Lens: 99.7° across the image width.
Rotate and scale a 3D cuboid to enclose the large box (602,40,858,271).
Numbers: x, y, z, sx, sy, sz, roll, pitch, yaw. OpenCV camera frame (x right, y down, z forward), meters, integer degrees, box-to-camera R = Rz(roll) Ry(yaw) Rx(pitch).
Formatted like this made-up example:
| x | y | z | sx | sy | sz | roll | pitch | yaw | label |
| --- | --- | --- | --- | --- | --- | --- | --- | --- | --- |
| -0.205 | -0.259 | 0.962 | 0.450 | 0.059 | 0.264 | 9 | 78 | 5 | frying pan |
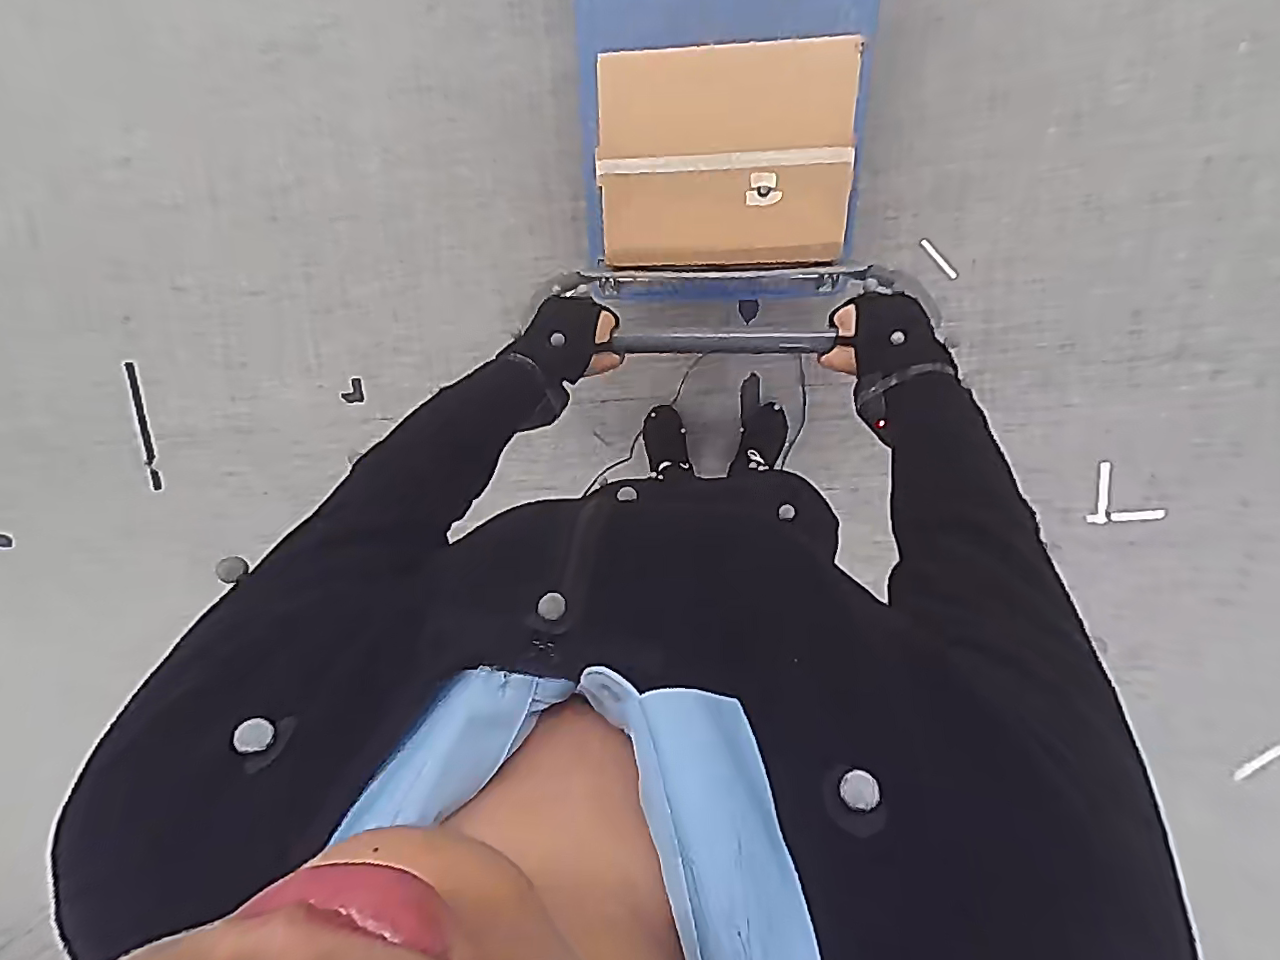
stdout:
| x | y | z | sx | sy | sz | roll | pitch | yaw | label |
| --- | --- | --- | --- | --- | --- | --- | --- | --- | --- |
| 0.155 | -0.575 | 1.032 | 0.408 | 0.320 | 0.320 | 1 | 111 | 6 | large box |
